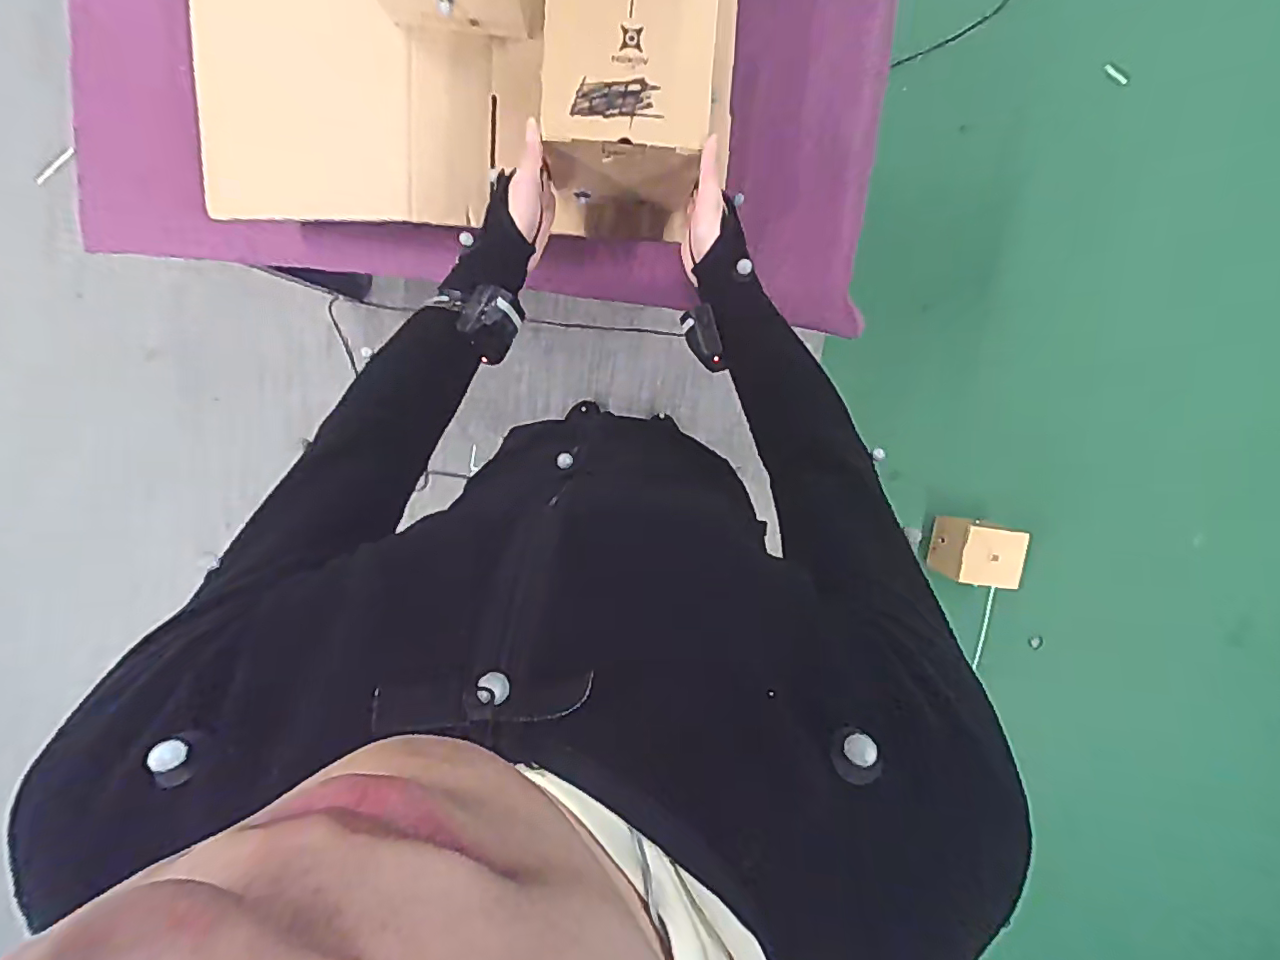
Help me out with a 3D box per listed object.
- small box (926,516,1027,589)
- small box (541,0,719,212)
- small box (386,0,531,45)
[{"bbox_3d":[0.988,0.208,1.599,0.179,0.176,0.168,7,97,-1],"label":"small box"},{"bbox_3d":[-0.013,-0.416,0.596,0.168,0.176,0.179,3,97,-3],"label":"small box"},{"bbox_3d":[-0.202,-0.605,0.557,0.168,0.176,0.179,4,99,-4],"label":"small box"}]
